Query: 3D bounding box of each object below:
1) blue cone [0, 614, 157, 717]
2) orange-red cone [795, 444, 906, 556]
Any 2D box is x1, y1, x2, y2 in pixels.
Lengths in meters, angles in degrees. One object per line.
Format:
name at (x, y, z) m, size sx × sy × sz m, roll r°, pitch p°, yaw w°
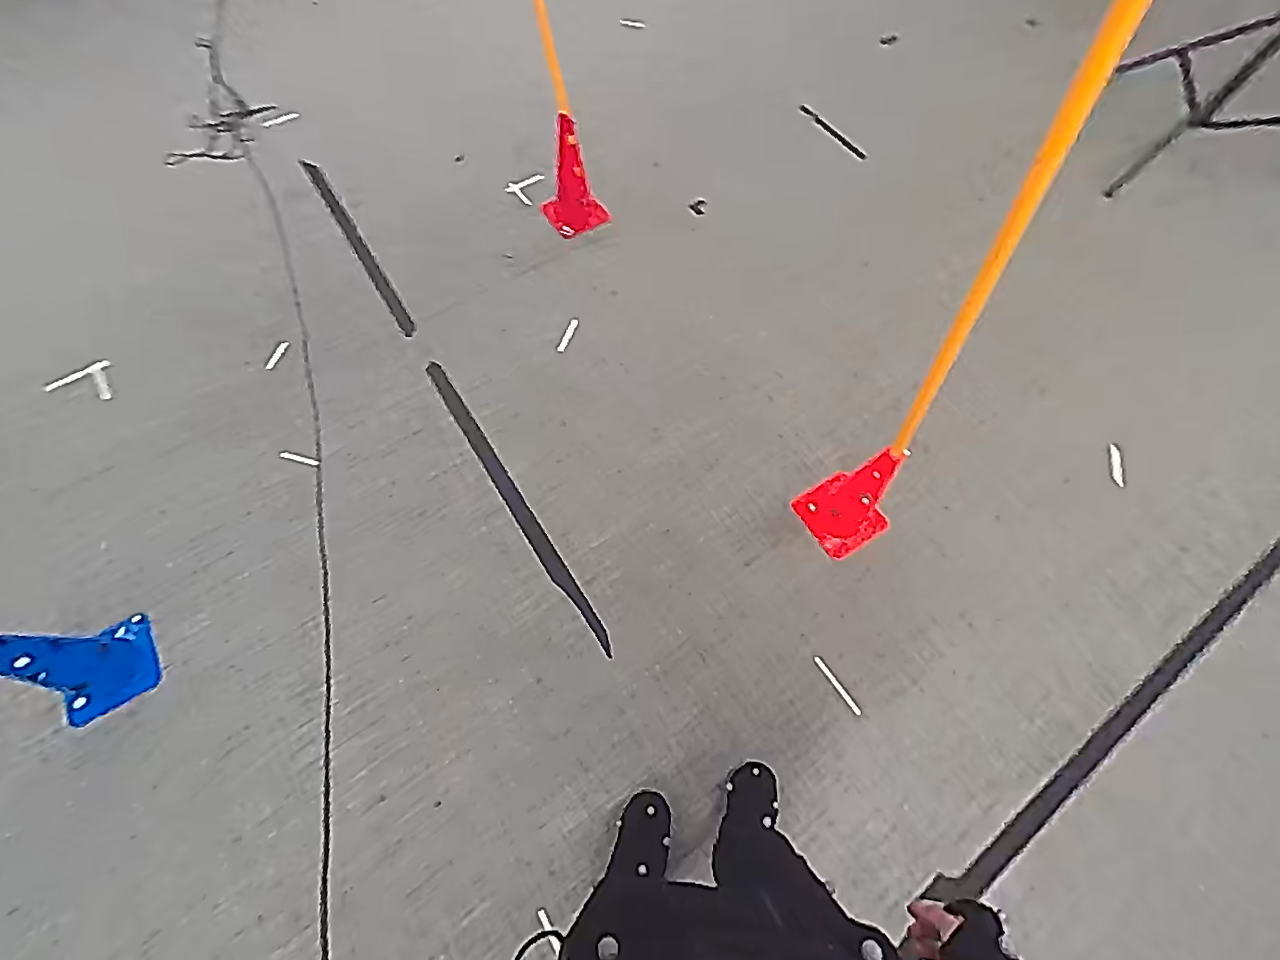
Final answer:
blue cone at (-1.258, 0.369, 1.139) m, size 0.193 × 0.380 × 0.192 m, roll -28°, pitch 67°, yaw -13°
orange-red cone at (0.546, 0.014, 1.305) m, size 0.198 × 0.360 × 0.199 m, roll -28°, pitch 69°, yaw -13°
